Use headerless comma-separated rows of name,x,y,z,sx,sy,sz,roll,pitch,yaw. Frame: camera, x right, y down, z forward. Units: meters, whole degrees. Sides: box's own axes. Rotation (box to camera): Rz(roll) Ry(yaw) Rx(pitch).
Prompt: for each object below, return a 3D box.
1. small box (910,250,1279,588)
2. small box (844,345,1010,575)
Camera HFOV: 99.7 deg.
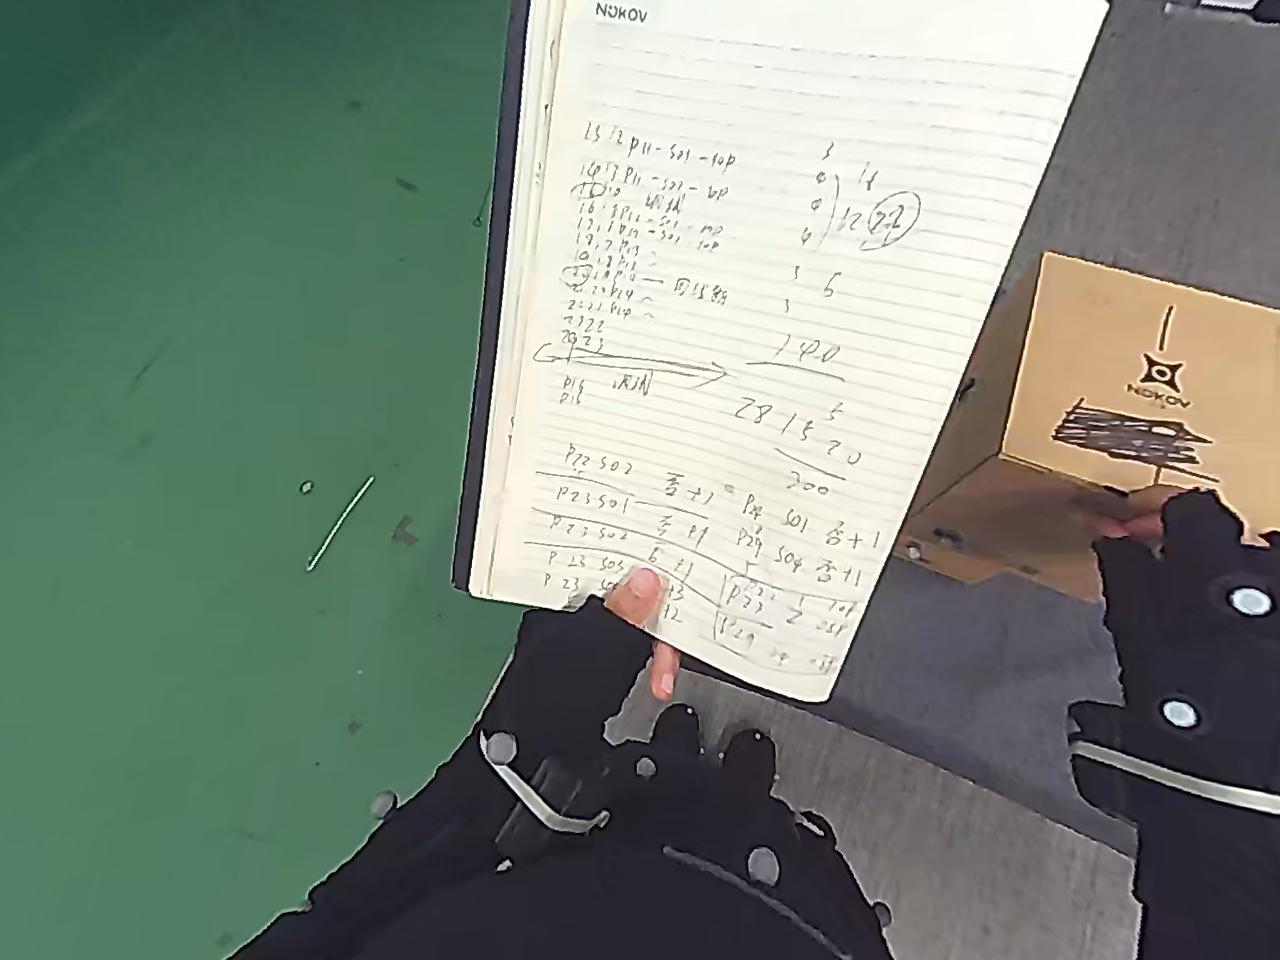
small box,0.336,-0.034,0.420,0.168,0.176,0.179,21,69,11
small box,0.349,-0.015,0.611,0.168,0.176,0.179,21,72,15
